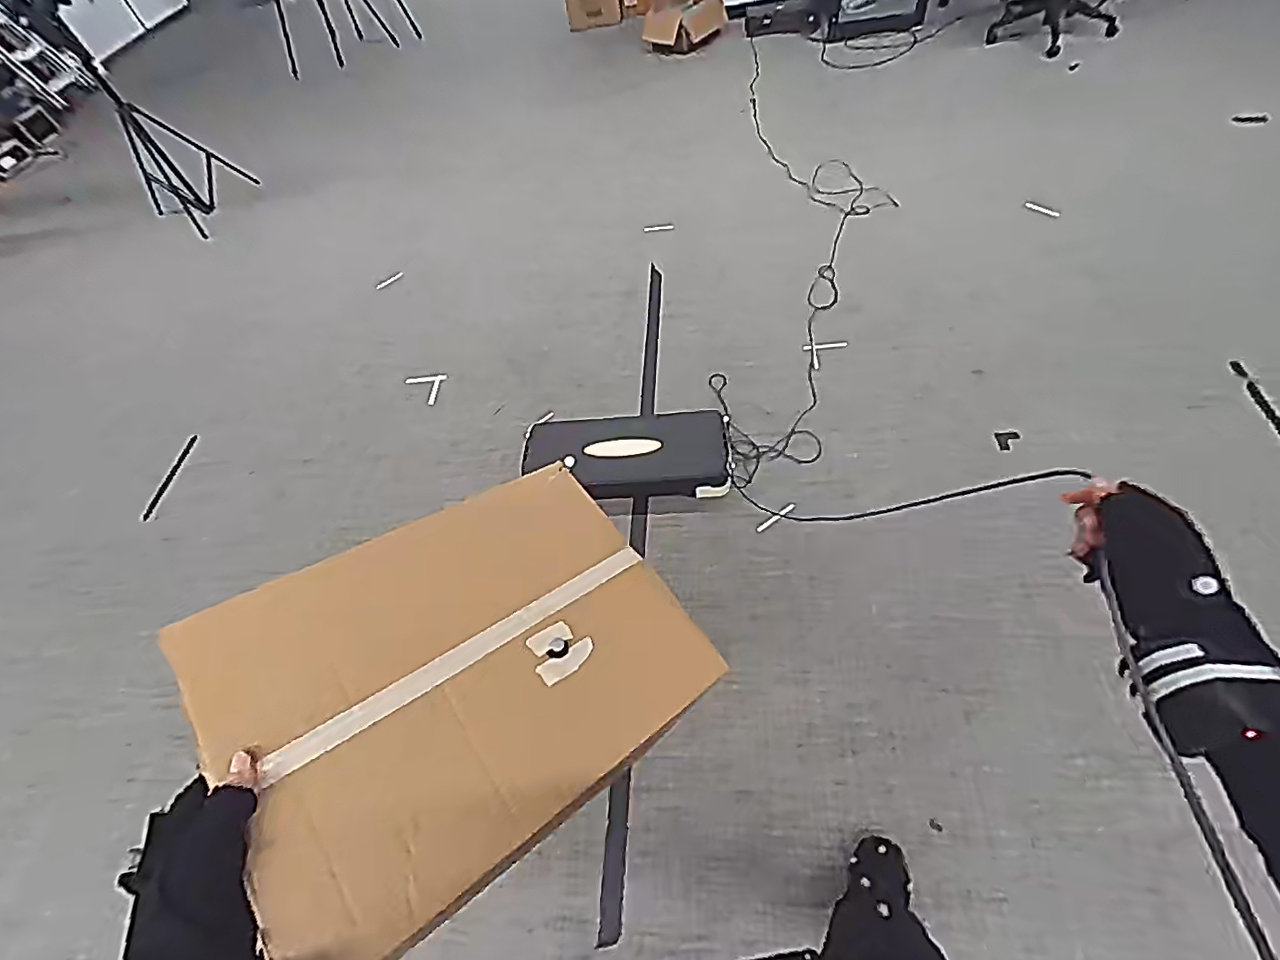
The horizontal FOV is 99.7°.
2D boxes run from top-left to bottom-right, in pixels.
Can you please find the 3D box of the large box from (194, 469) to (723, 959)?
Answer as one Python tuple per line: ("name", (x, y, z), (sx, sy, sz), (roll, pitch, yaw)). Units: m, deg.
("large box", (-0.183, 0.257, 0.629), (0.408, 0.320, 0.320), (-26, 63, -33))
